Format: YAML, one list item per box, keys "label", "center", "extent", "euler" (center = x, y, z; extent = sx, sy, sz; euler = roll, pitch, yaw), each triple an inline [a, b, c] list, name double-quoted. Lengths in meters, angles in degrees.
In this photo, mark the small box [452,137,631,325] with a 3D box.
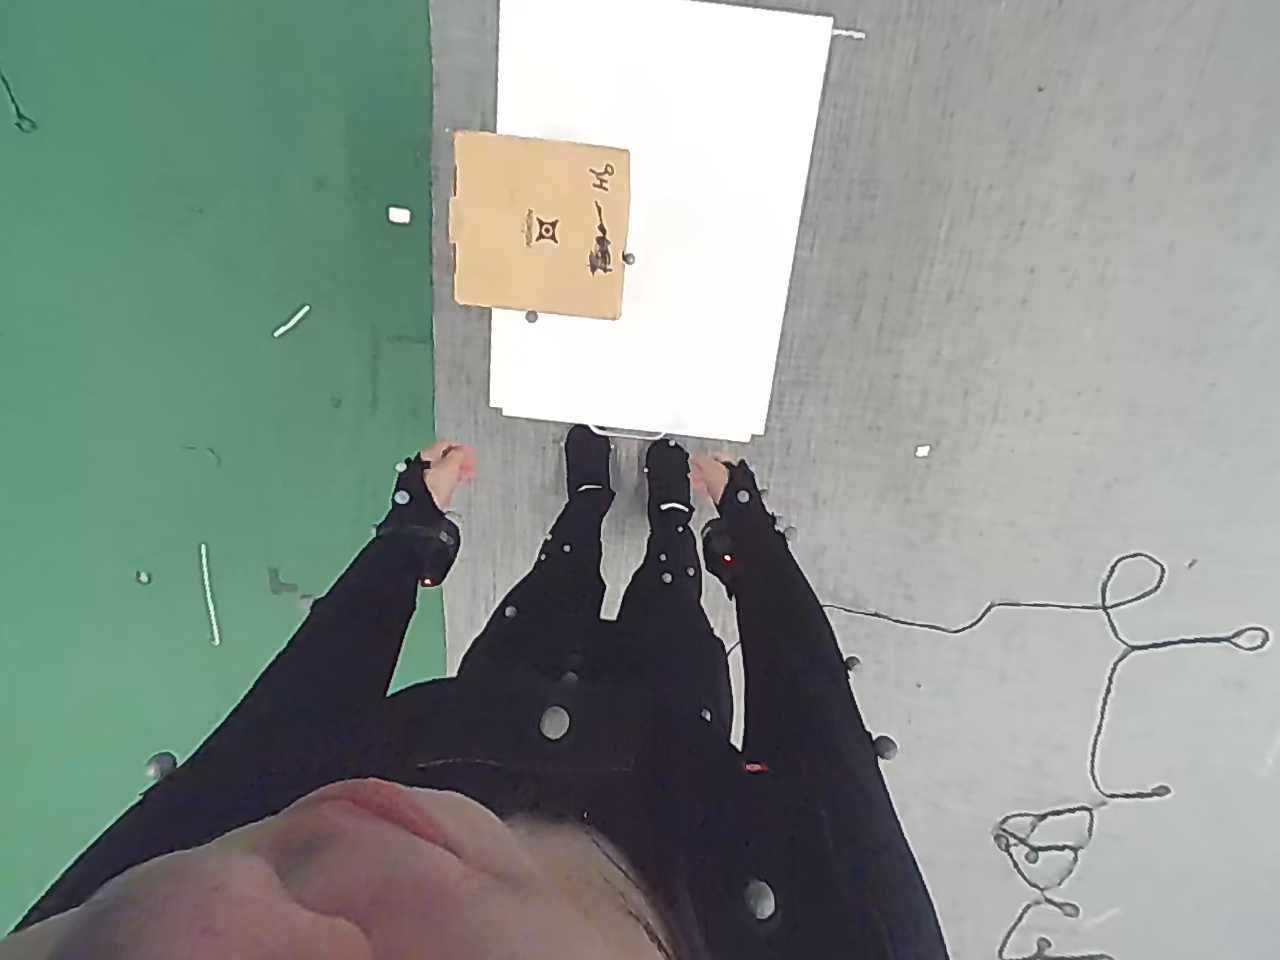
- label: "small box"
  center: [-0.106, -0.275, 0.634]
  extent: [0.179, 0.176, 0.168]
  euler: [5, 106, -2]
